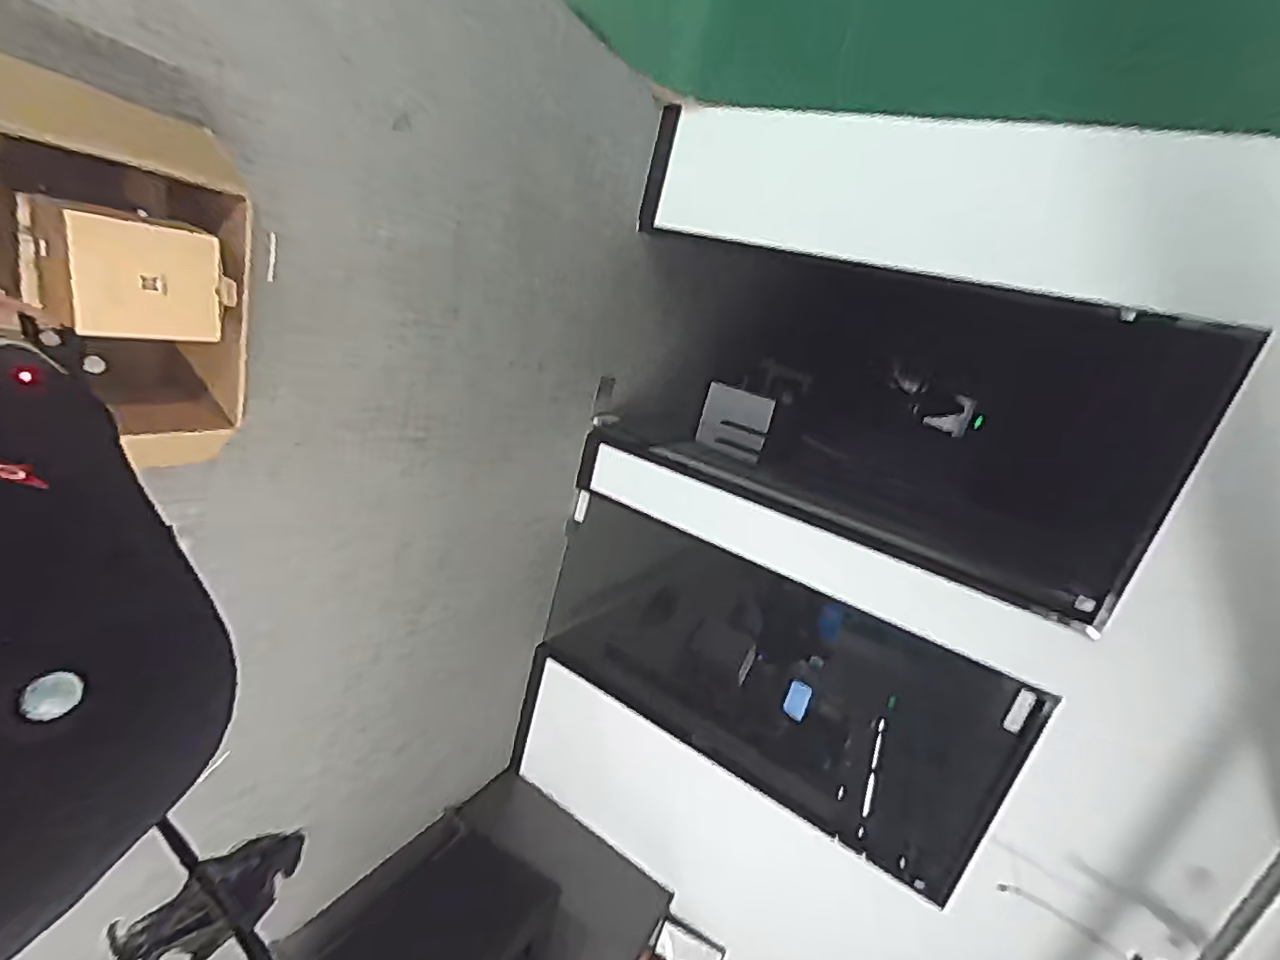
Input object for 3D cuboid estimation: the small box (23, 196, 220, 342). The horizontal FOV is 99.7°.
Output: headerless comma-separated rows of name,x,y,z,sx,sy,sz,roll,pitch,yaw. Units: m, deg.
small box,-0.785,-0.318,0.828,0.179,0.176,0.168,-16,126,-57
